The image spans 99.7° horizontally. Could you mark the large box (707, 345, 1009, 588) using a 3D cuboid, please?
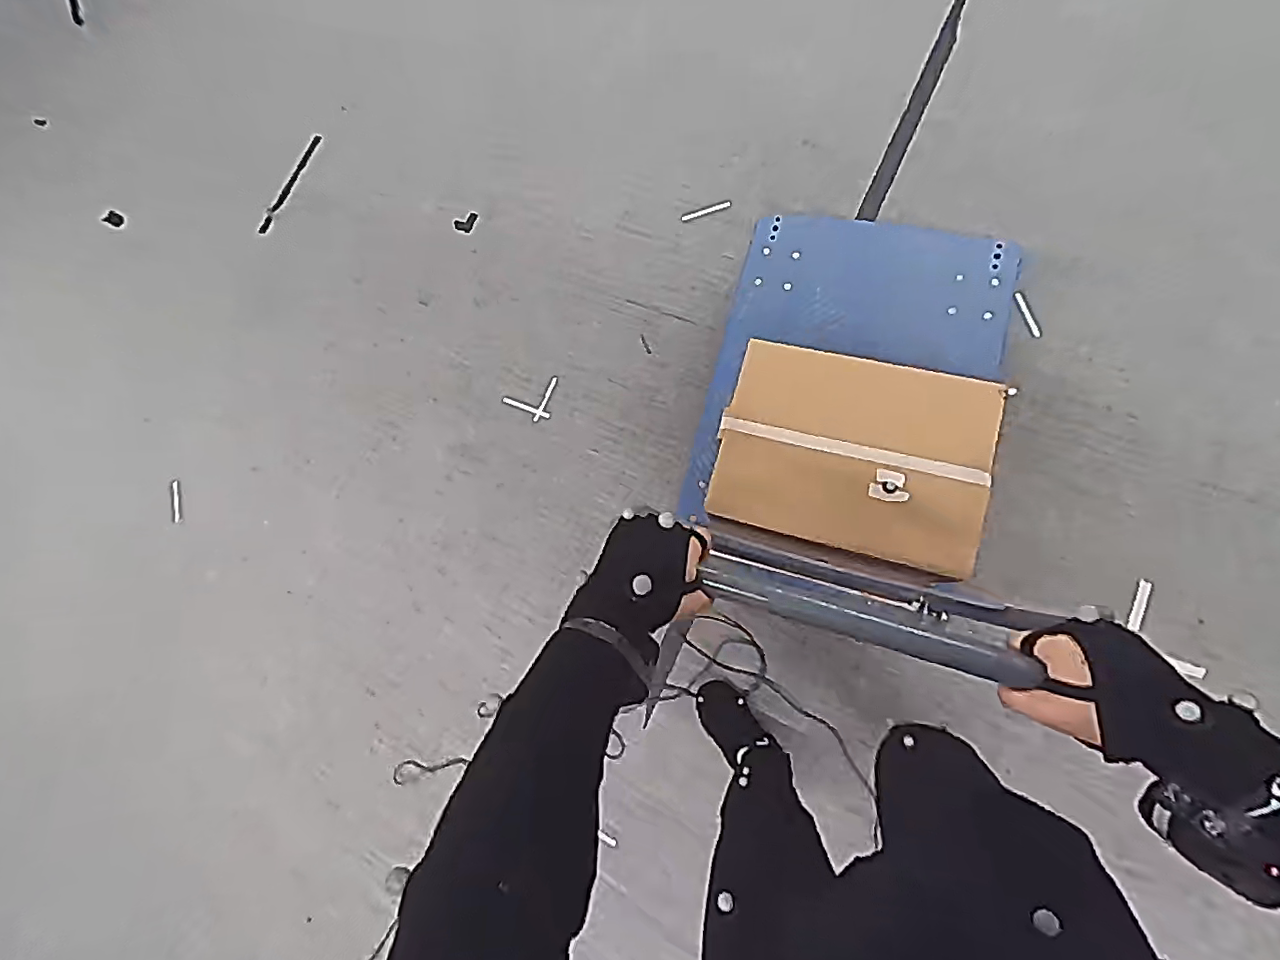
[{"bbox_3d":[0.358,-0.008,0.983,0.408,0.320,0.320,15,82,13],"label":"large box"}]
